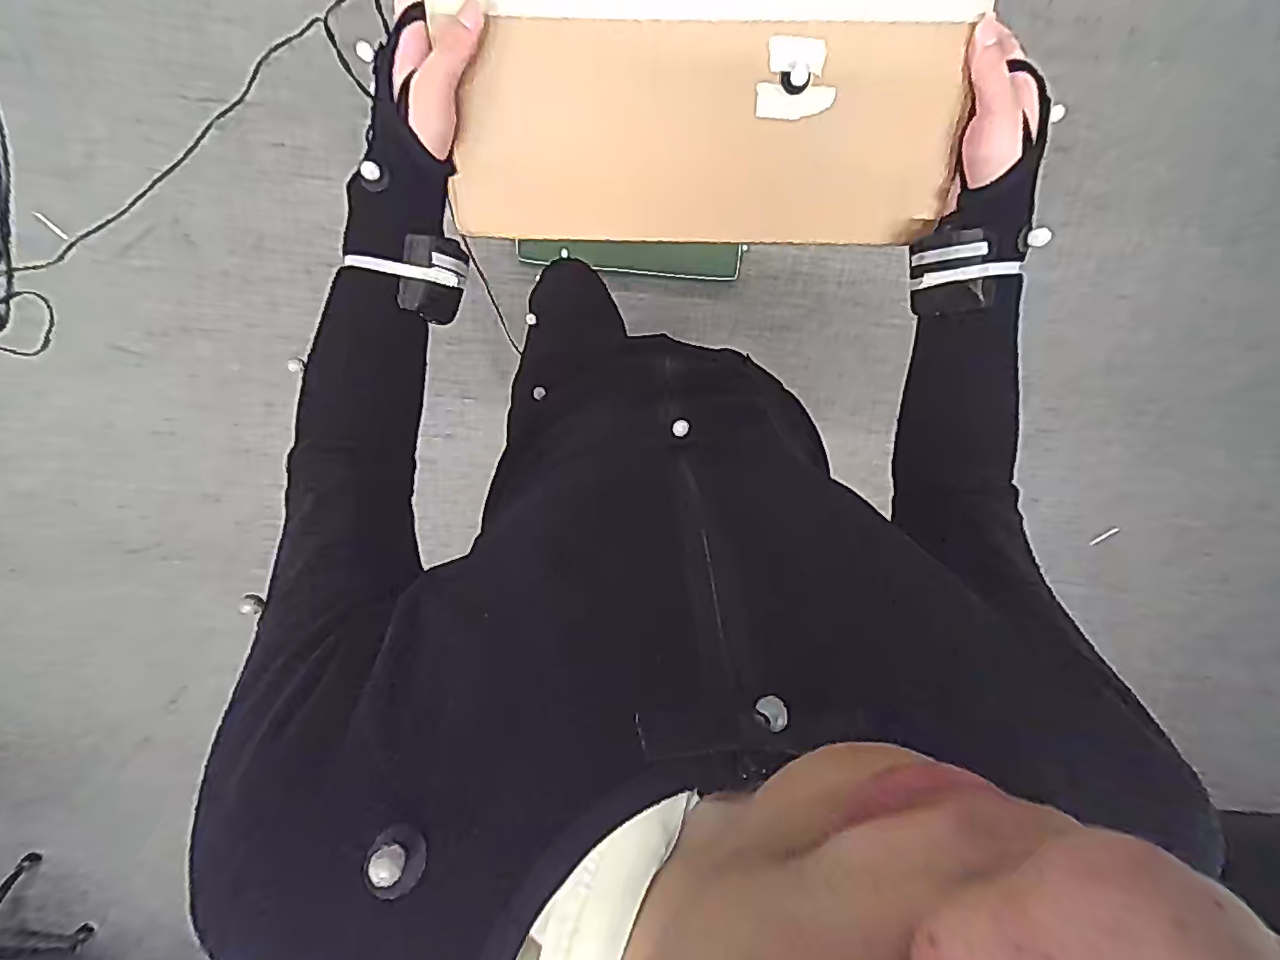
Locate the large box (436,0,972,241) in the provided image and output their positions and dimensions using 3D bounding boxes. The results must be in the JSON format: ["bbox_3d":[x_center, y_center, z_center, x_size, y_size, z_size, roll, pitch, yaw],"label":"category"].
[{"bbox_3d":[0.043,-0.415,0.531,0.408,0.320,0.320,0,118,-1],"label":"large box"}]
